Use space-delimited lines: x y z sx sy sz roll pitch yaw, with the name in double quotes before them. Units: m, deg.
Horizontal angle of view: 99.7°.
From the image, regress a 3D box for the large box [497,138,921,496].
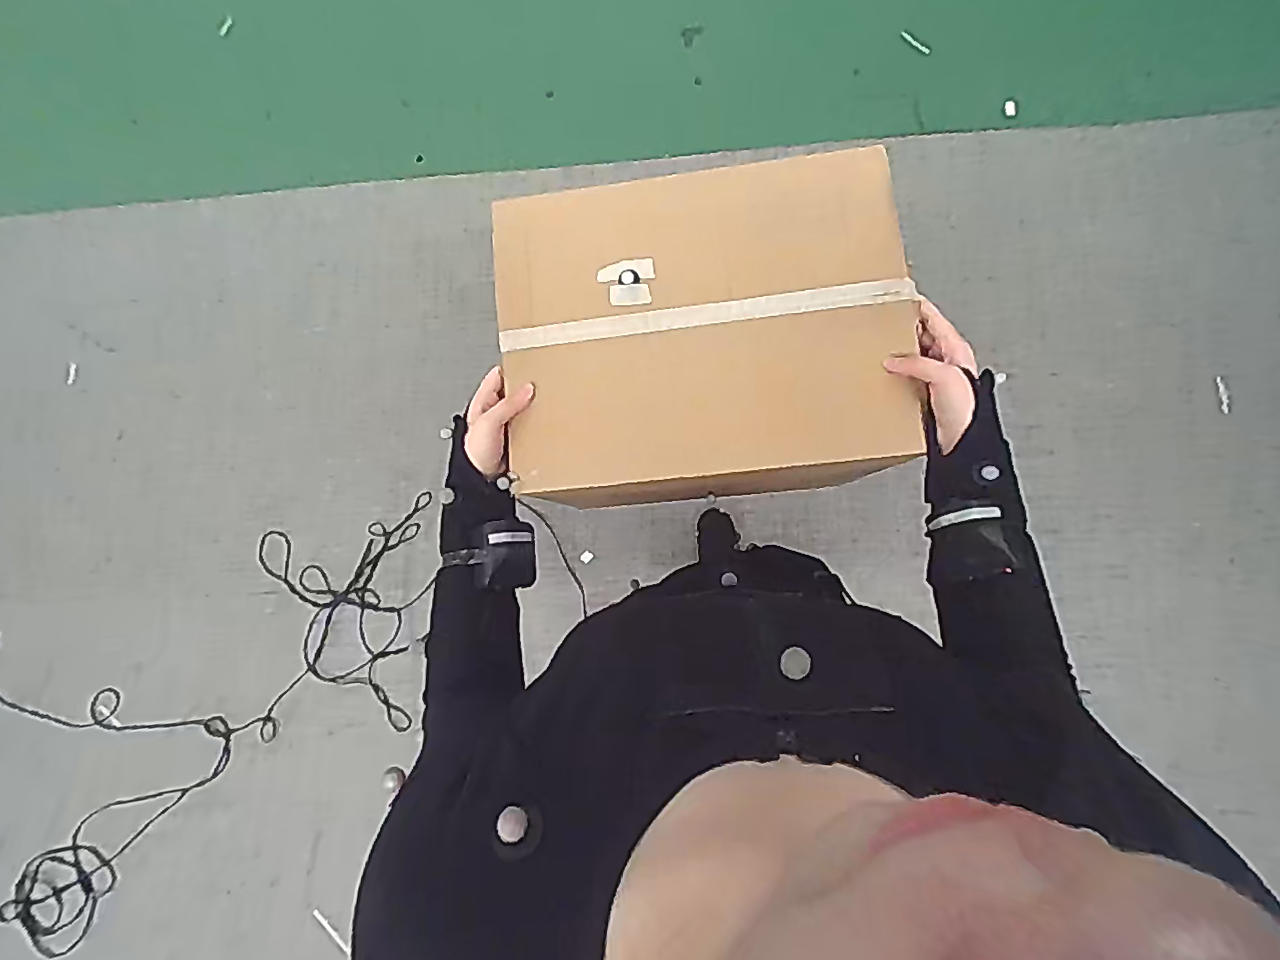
"large box" 0.075 -0.158 0.694 0.408 0.320 0.320 -6 84 6
